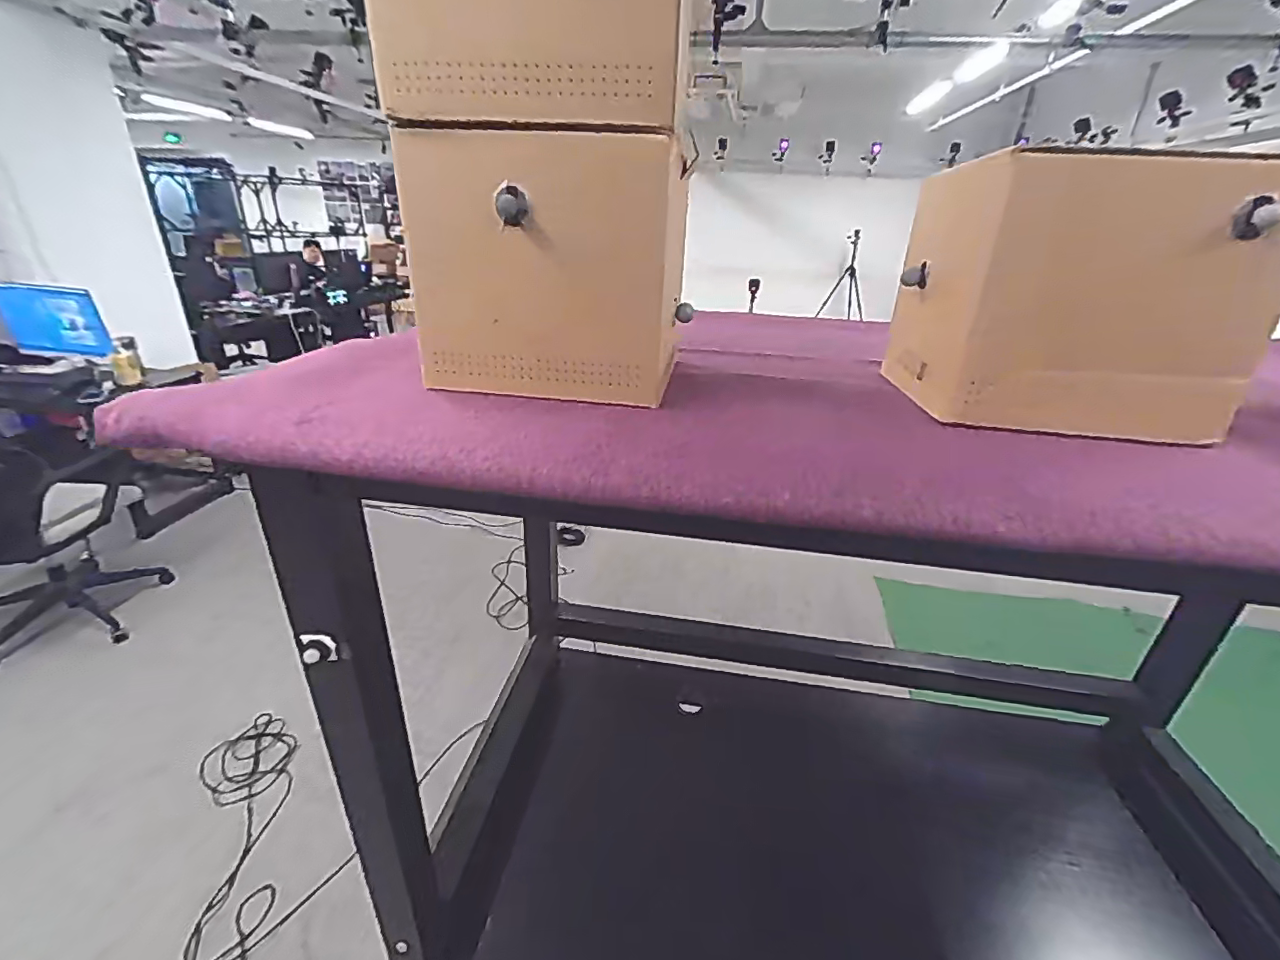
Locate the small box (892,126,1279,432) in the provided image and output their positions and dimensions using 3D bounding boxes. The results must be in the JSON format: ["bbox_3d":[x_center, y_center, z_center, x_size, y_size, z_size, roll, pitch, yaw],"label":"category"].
[{"bbox_3d":[0.300,-0.139,0.392,0.179,0.176,0.168,6,24,7],"label":"small box"}]

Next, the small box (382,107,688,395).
[{"bbox_3d":[-0.061,-0.169,0.416,0.179,0.176,0.168,6,26,6],"label":"small box"}]
